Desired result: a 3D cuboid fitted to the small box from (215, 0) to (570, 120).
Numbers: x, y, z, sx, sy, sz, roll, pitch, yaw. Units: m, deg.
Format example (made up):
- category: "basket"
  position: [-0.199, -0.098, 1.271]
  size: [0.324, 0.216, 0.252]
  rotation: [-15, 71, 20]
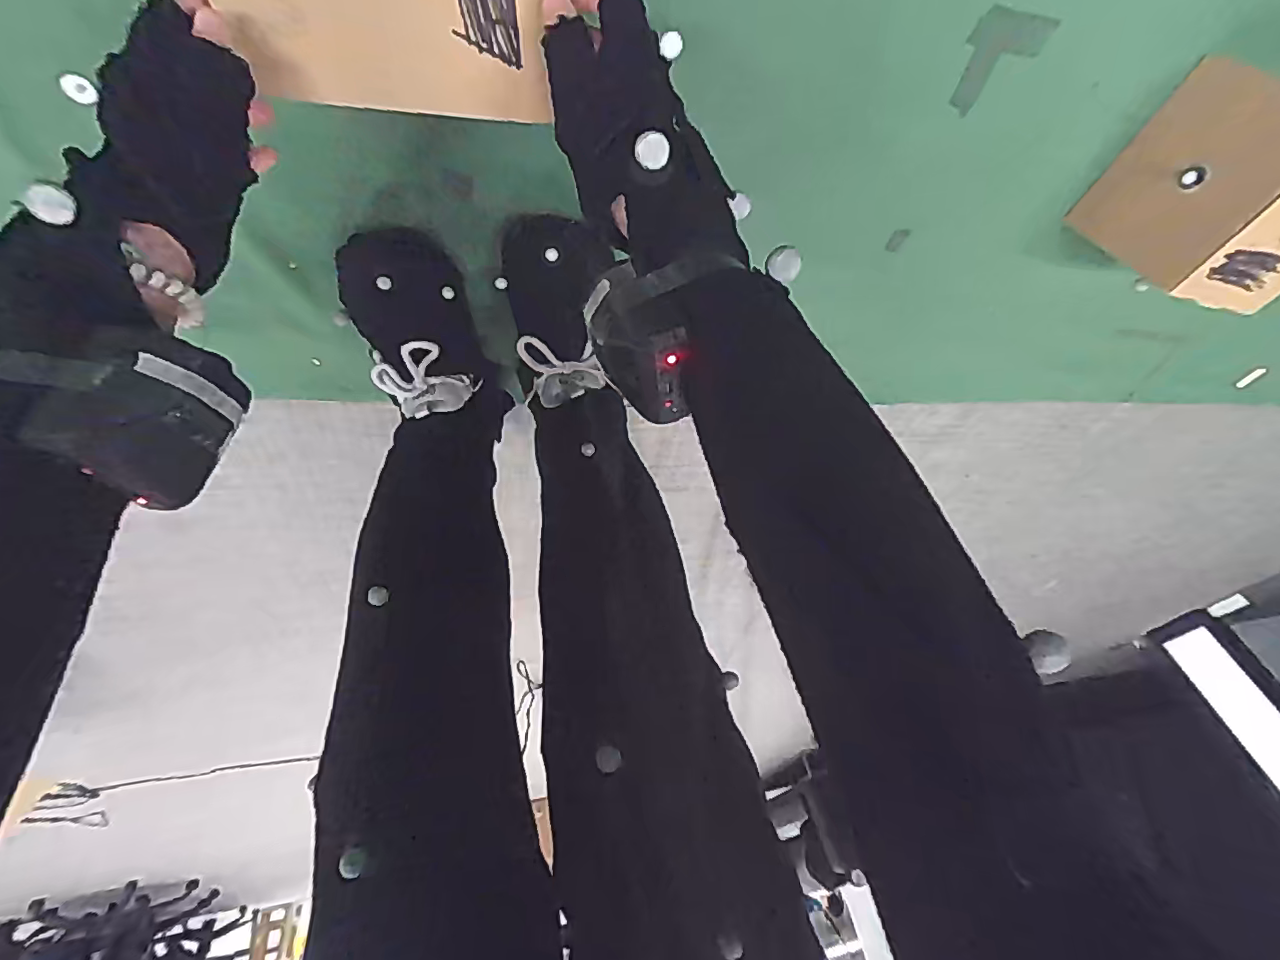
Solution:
- category: "small box"
  position: [-0.134, -0.331, 0.300]
  size: [0.179, 0.176, 0.168]
  rotation: [-3, 142, -13]
